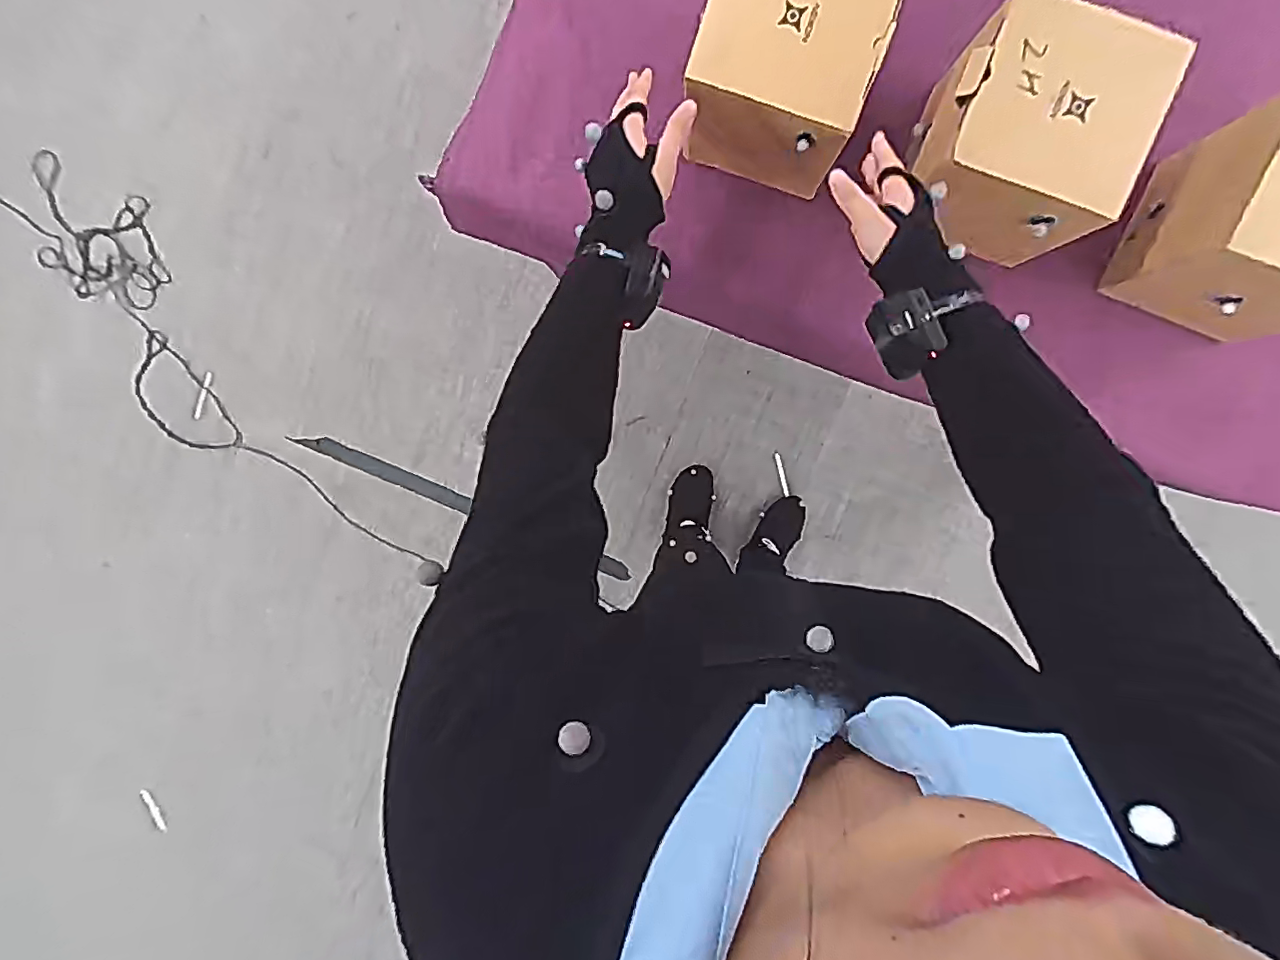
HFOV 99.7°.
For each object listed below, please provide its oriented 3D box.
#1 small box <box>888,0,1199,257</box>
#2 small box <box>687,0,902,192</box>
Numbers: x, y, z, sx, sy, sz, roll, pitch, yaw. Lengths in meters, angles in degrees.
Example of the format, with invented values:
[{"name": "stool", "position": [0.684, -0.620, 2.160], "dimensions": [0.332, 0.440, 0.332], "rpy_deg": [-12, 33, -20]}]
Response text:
[{"name": "small box", "position": [0.408, -0.363, 0.584], "dimensions": [0.179, 0.176, 0.168], "rpy_deg": [20, 97, 1]}, {"name": "small box", "position": [0.157, -0.449, 0.592], "dimensions": [0.179, 0.176, 0.168], "rpy_deg": [19, 97, 1]}]
